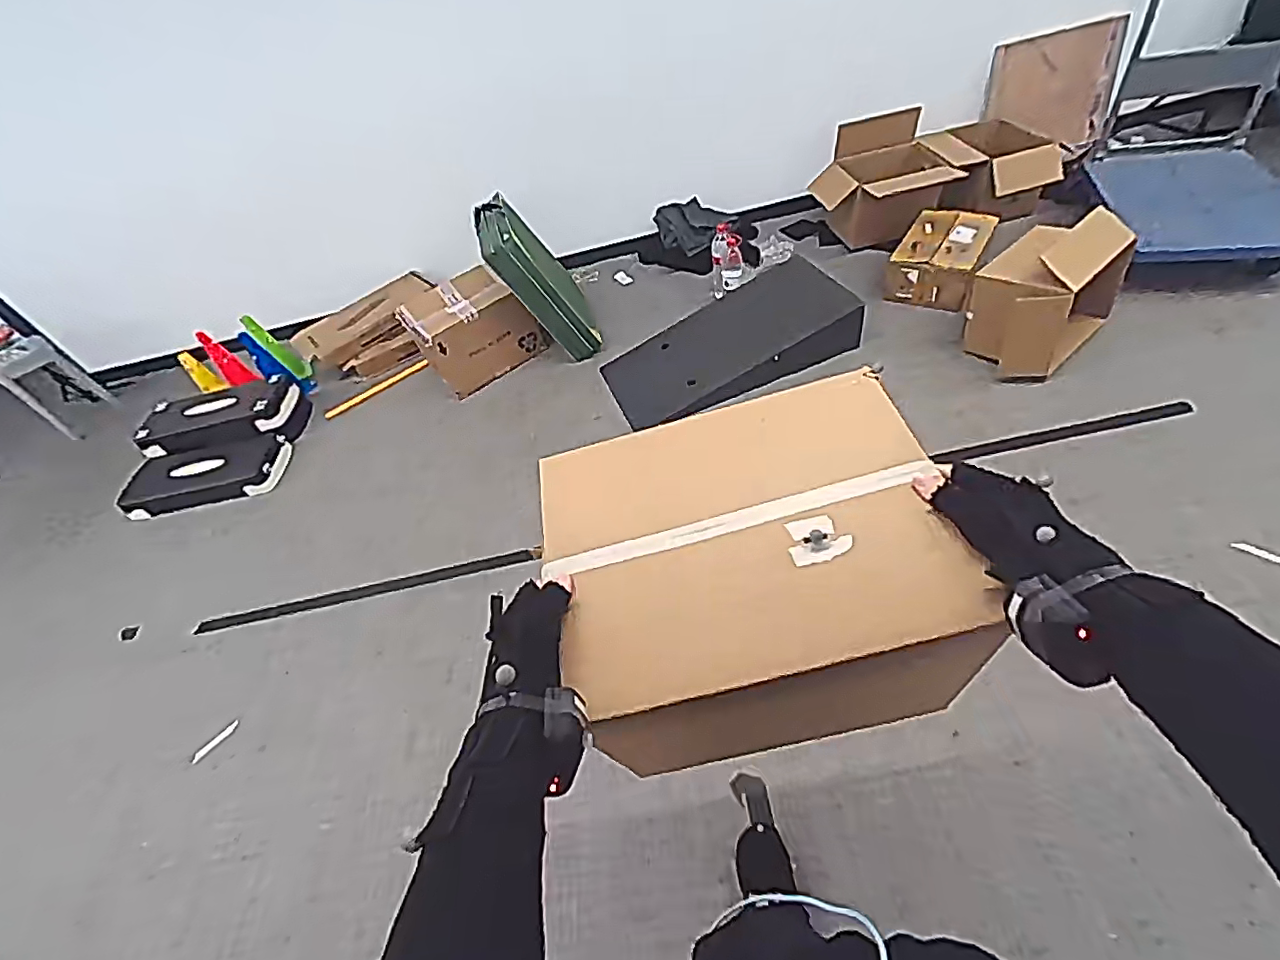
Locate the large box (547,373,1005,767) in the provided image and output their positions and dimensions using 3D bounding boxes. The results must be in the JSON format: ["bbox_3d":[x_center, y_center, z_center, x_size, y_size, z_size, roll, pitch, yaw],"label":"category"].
[{"bbox_3d":[0.131,0.127,0.683,0.408,0.320,0.320,-15,53,3],"label":"large box"}]
